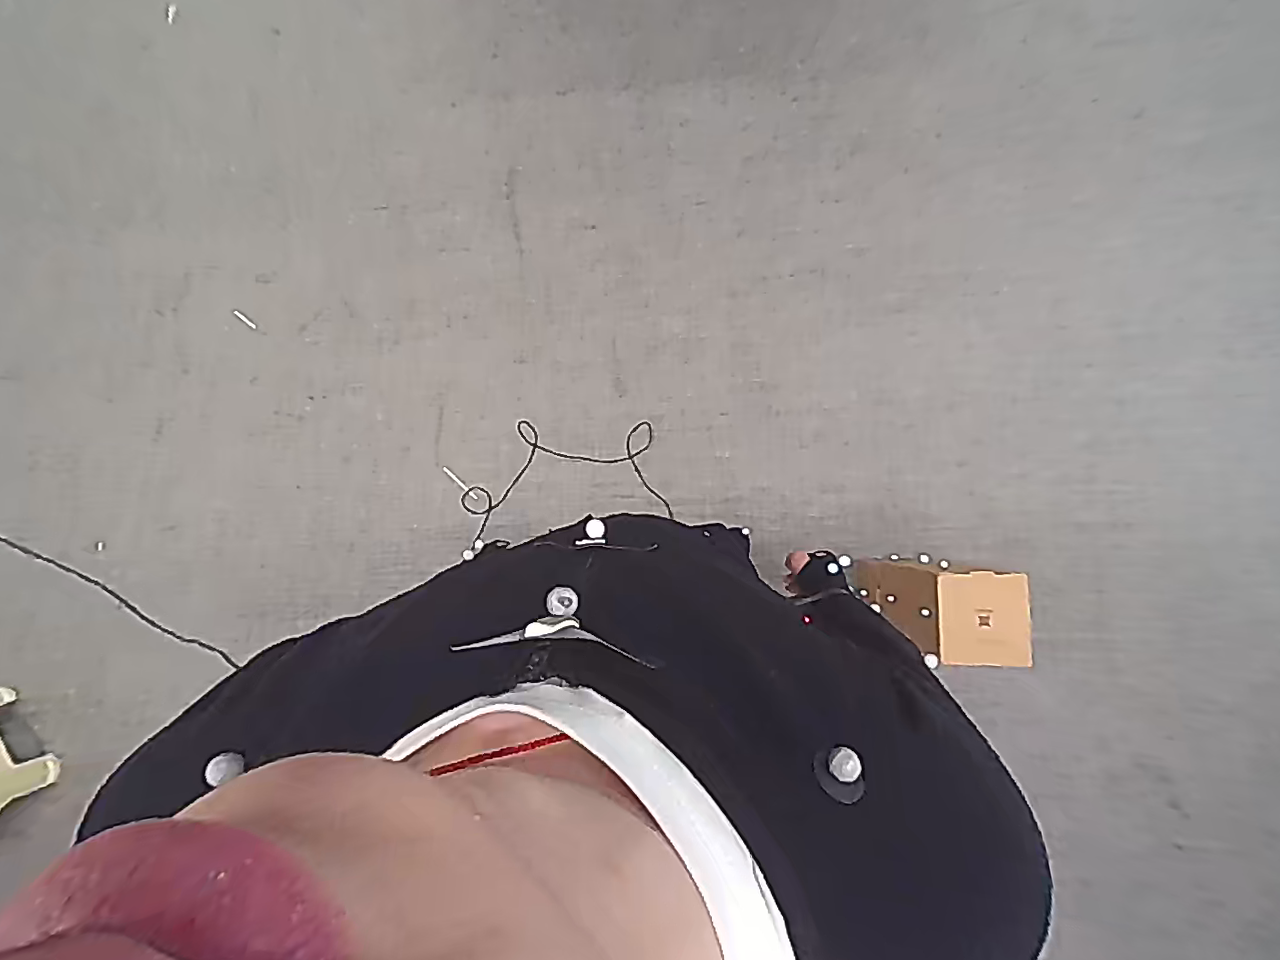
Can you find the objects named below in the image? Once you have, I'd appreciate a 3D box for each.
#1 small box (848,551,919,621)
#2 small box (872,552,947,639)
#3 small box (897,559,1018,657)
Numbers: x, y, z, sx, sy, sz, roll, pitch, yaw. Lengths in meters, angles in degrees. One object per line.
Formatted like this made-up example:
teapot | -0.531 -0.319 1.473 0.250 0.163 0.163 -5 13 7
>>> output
small box | 0.678 0.285 1.473 0.179 0.176 0.168 -3 87 2
small box | 0.668 0.272 1.288 0.168 0.176 0.179 1 88 1
small box | 0.653 0.259 1.130 0.168 0.176 0.179 -1 89 4
